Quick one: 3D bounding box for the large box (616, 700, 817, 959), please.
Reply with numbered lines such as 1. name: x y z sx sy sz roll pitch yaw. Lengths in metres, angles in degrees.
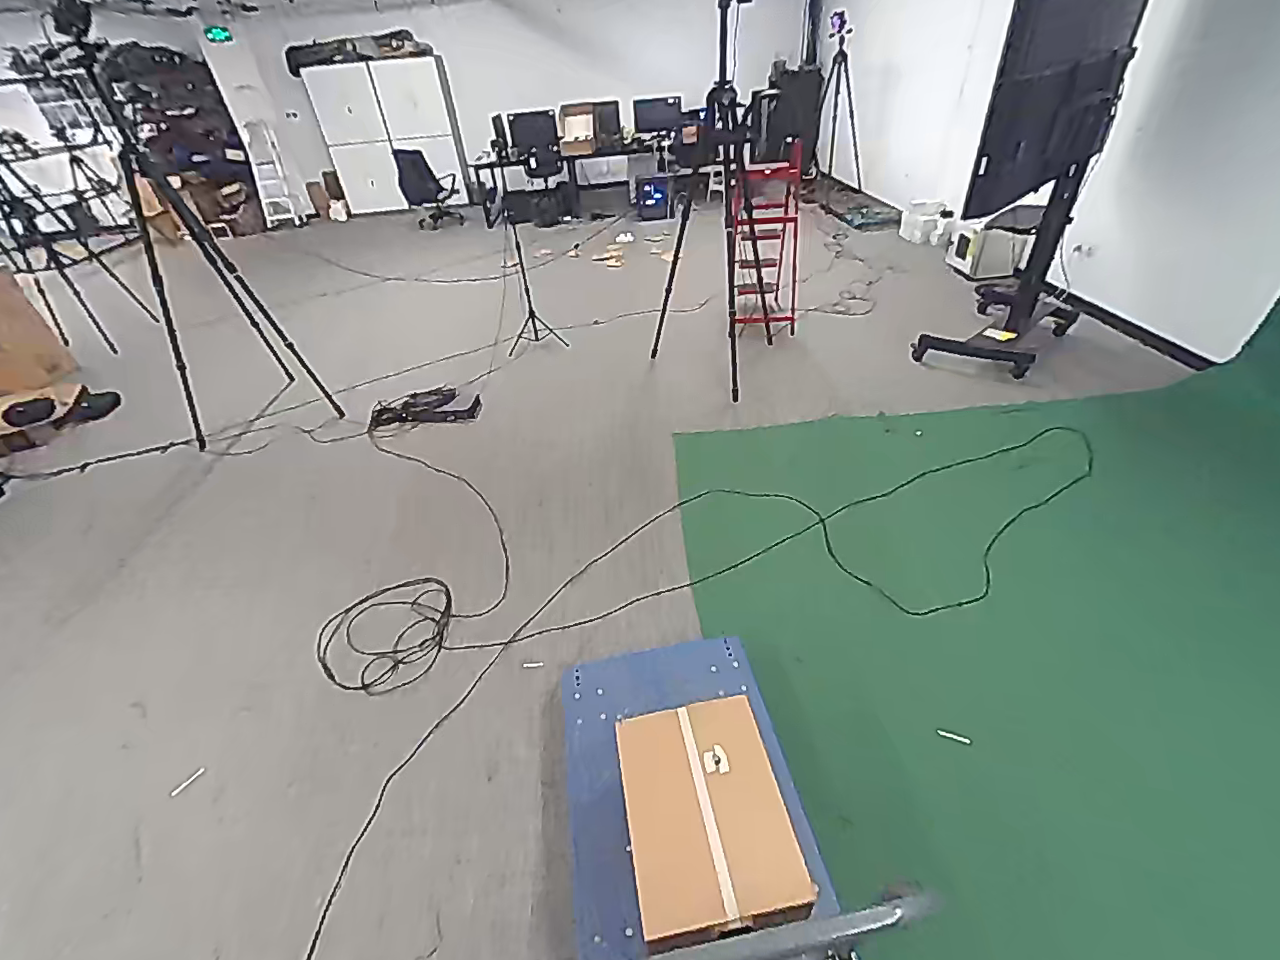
1. large box: 0.145 0.772 1.179 0.320 0.320 0.408 -9 36 -5
